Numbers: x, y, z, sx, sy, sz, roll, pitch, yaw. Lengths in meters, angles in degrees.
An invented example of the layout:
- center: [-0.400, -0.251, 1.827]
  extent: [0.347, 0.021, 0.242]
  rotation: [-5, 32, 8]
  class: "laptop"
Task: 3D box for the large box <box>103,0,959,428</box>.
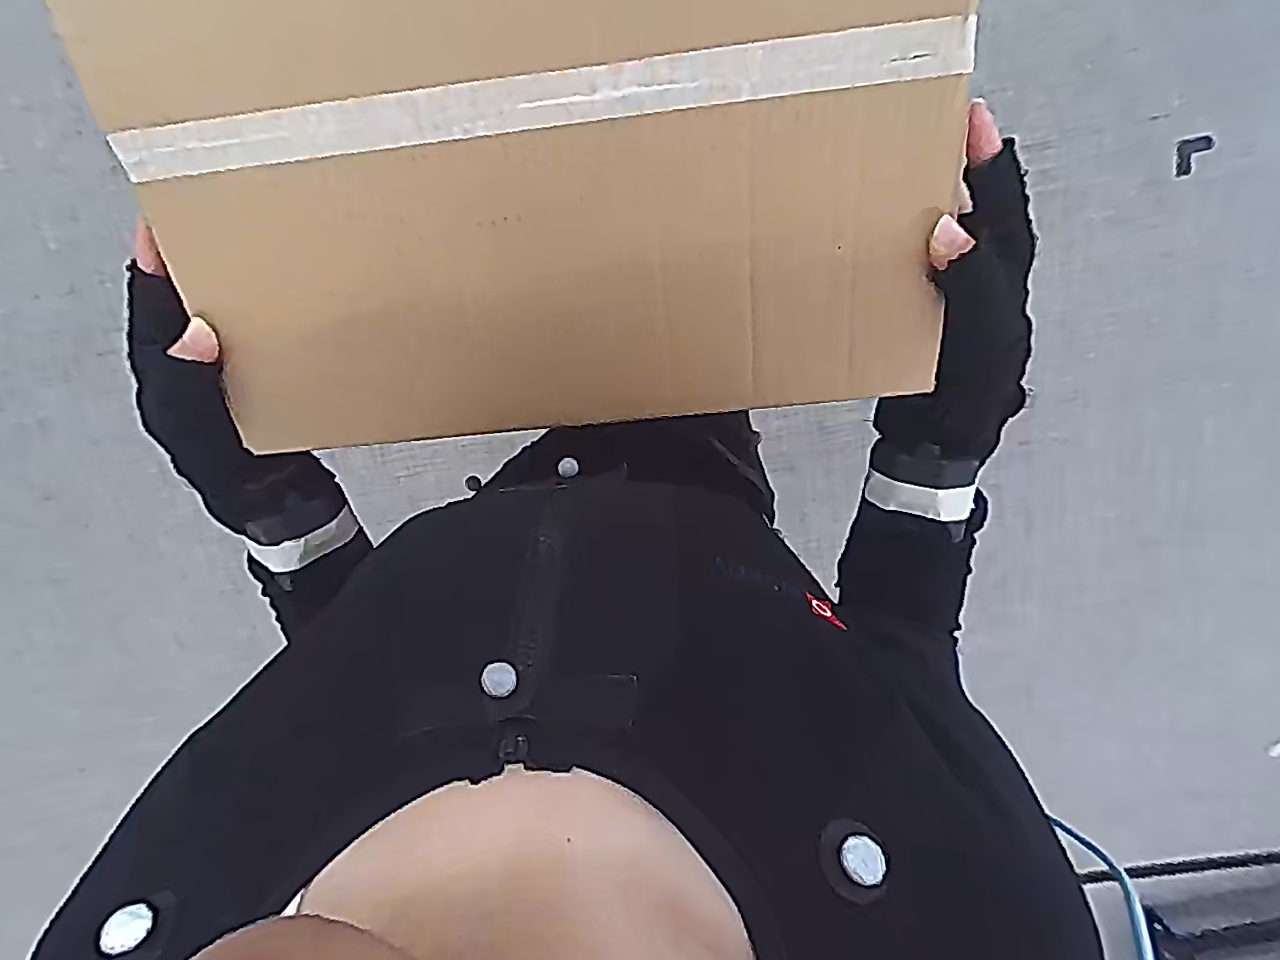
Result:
- center: [-0.048, -0.249, 0.401]
  extent: [0.408, 0.320, 0.320]
  rotation: [-5, 114, 3]
  class: "large box"
